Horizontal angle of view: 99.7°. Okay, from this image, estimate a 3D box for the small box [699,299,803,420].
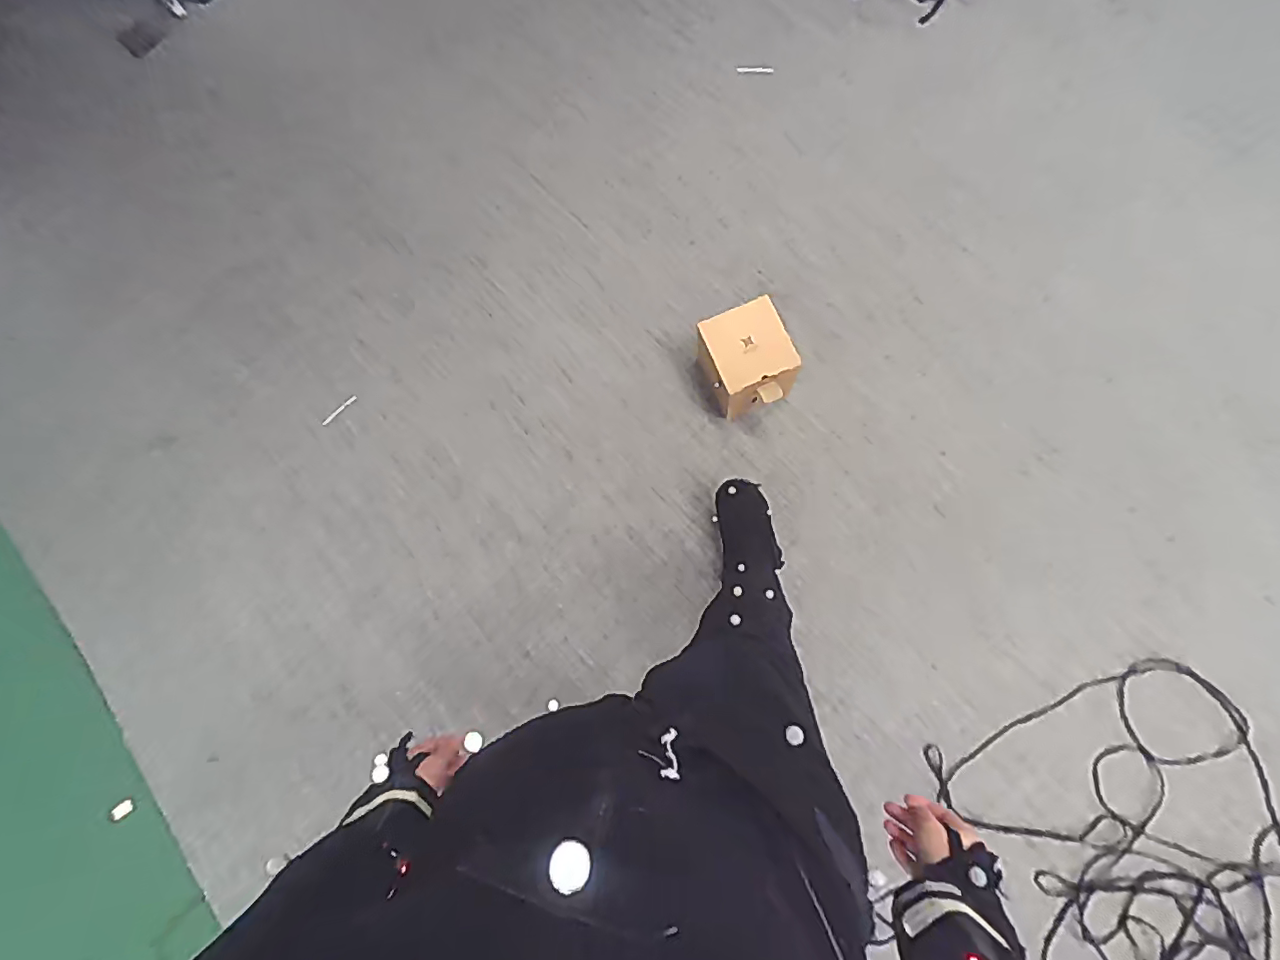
[{"bbox_3d":[0.236,-0.260,1.201,0.168,0.176,0.179,-23,77,1],"label":"small box"}]
